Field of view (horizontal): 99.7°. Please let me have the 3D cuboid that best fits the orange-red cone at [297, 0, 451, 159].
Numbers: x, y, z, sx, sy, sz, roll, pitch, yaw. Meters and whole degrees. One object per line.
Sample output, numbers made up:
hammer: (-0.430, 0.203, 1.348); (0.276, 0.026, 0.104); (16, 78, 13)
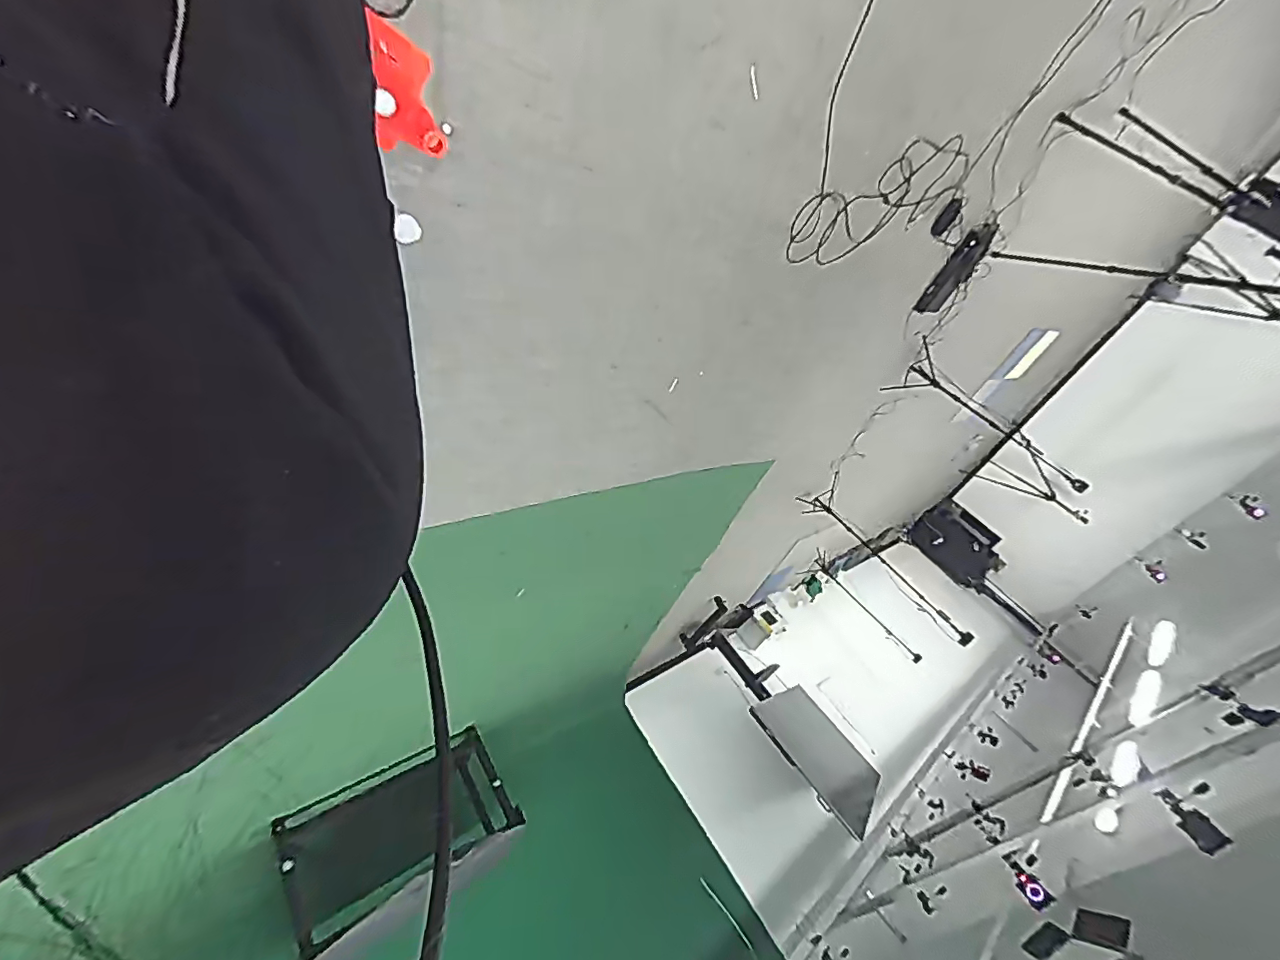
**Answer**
orange-red cone: (-0.412, -0.646, 0.936); (0.198, 0.360, 0.199); (-50, 151, 19)
